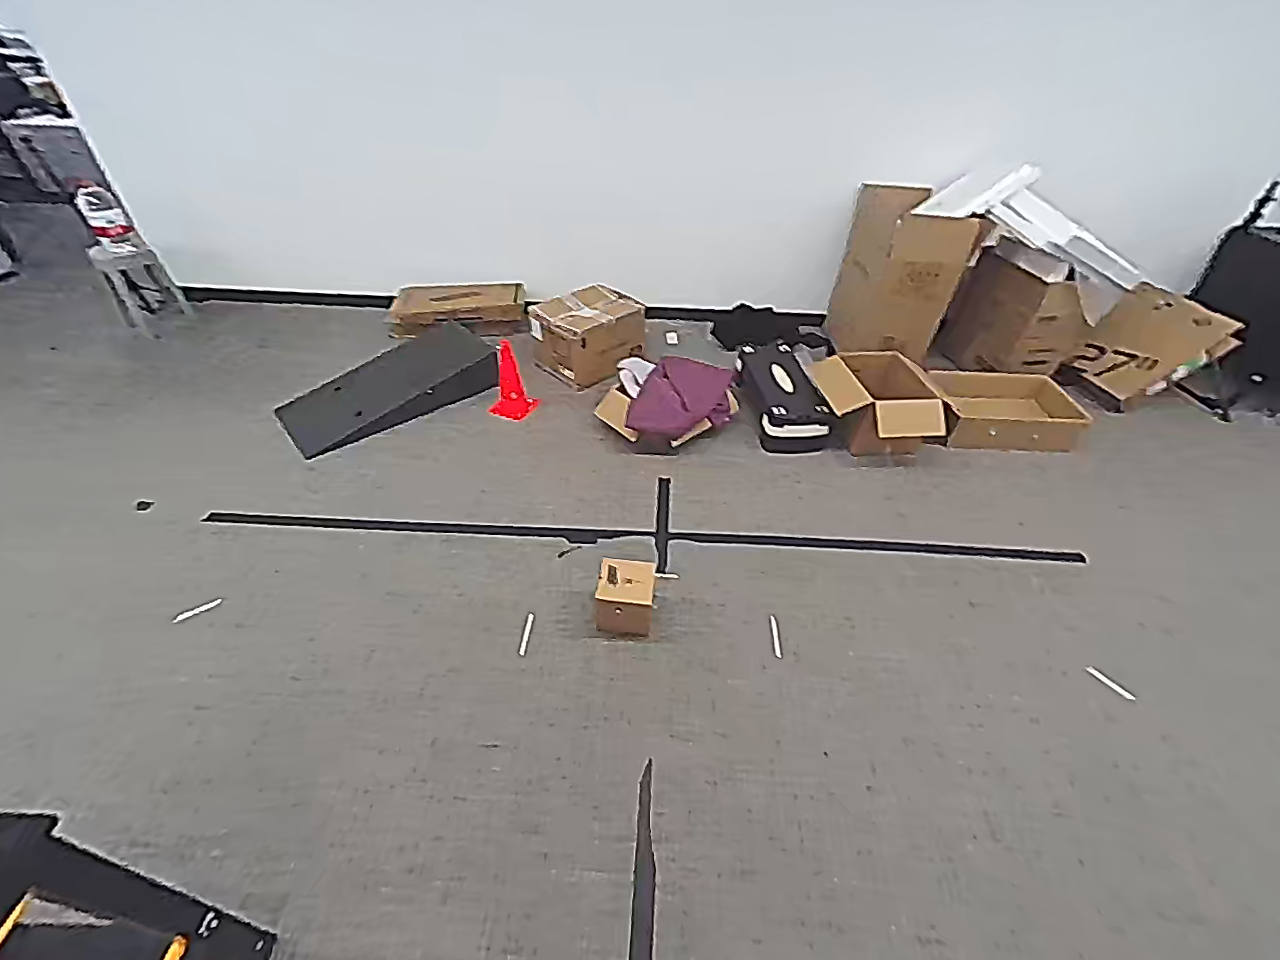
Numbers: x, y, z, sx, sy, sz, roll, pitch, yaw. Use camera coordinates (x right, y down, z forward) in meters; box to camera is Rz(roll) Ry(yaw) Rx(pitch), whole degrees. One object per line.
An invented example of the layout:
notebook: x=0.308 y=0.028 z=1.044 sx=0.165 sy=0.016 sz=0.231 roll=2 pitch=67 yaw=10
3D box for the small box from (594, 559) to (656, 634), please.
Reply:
small box: x=-0.046 y=0.377 z=1.746 sx=0.179 sy=0.176 sz=0.168 roll=6 pitch=42 yaw=3
